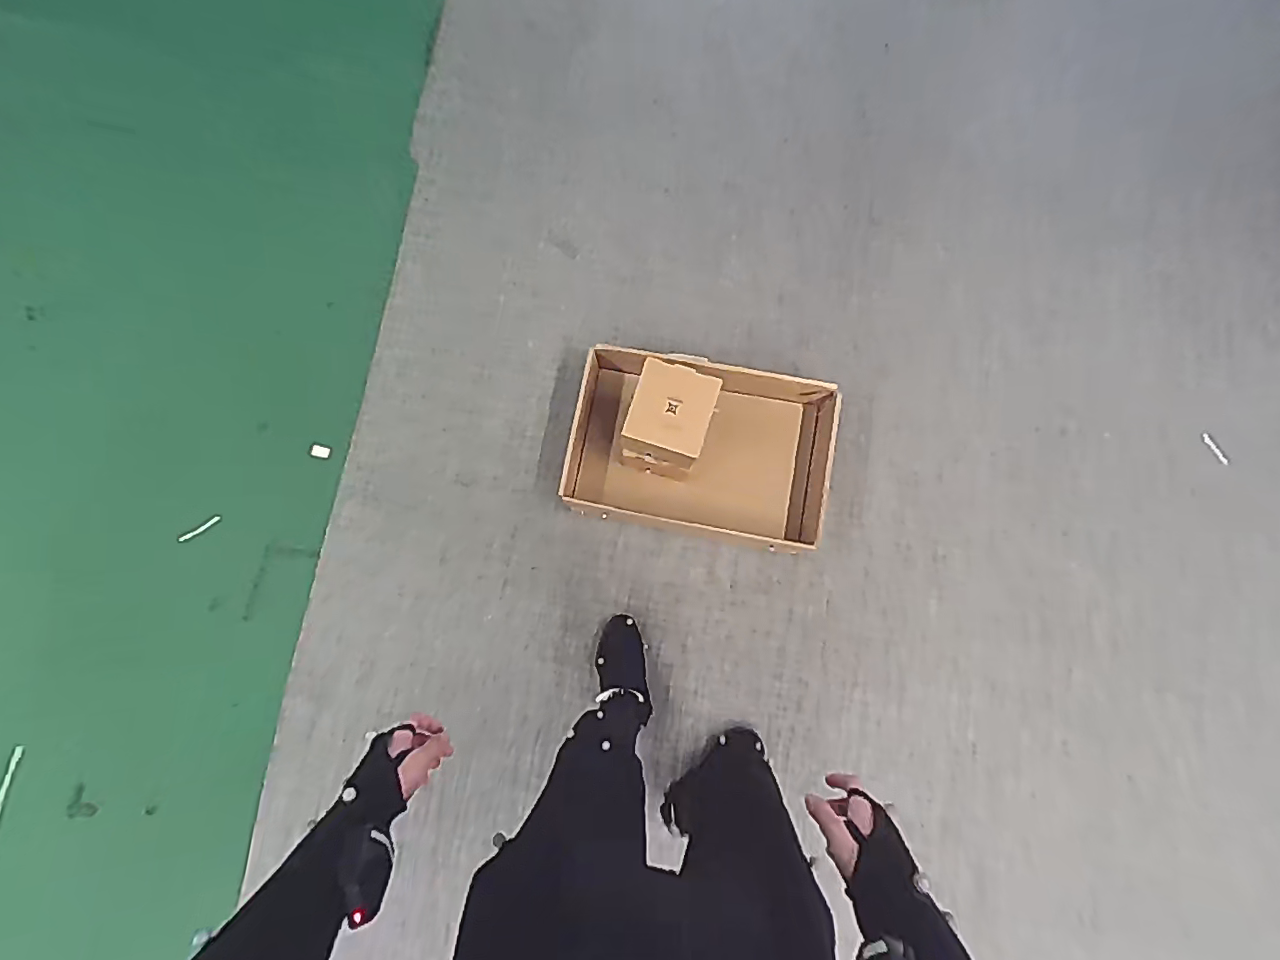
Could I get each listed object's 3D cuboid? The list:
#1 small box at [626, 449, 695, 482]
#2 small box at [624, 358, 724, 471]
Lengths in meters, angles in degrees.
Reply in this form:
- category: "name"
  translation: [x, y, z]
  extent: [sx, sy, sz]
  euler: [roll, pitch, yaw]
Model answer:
- category: "small box"
  translation: [0.062, -0.106, 1.335]
  extent: [0.168, 0.176, 0.179]
  euler: [14, 82, 0]
- category: "small box"
  translation: [0.067, -0.134, 1.174]
  extent: [0.168, 0.176, 0.179]
  euler: [18, 82, 2]
